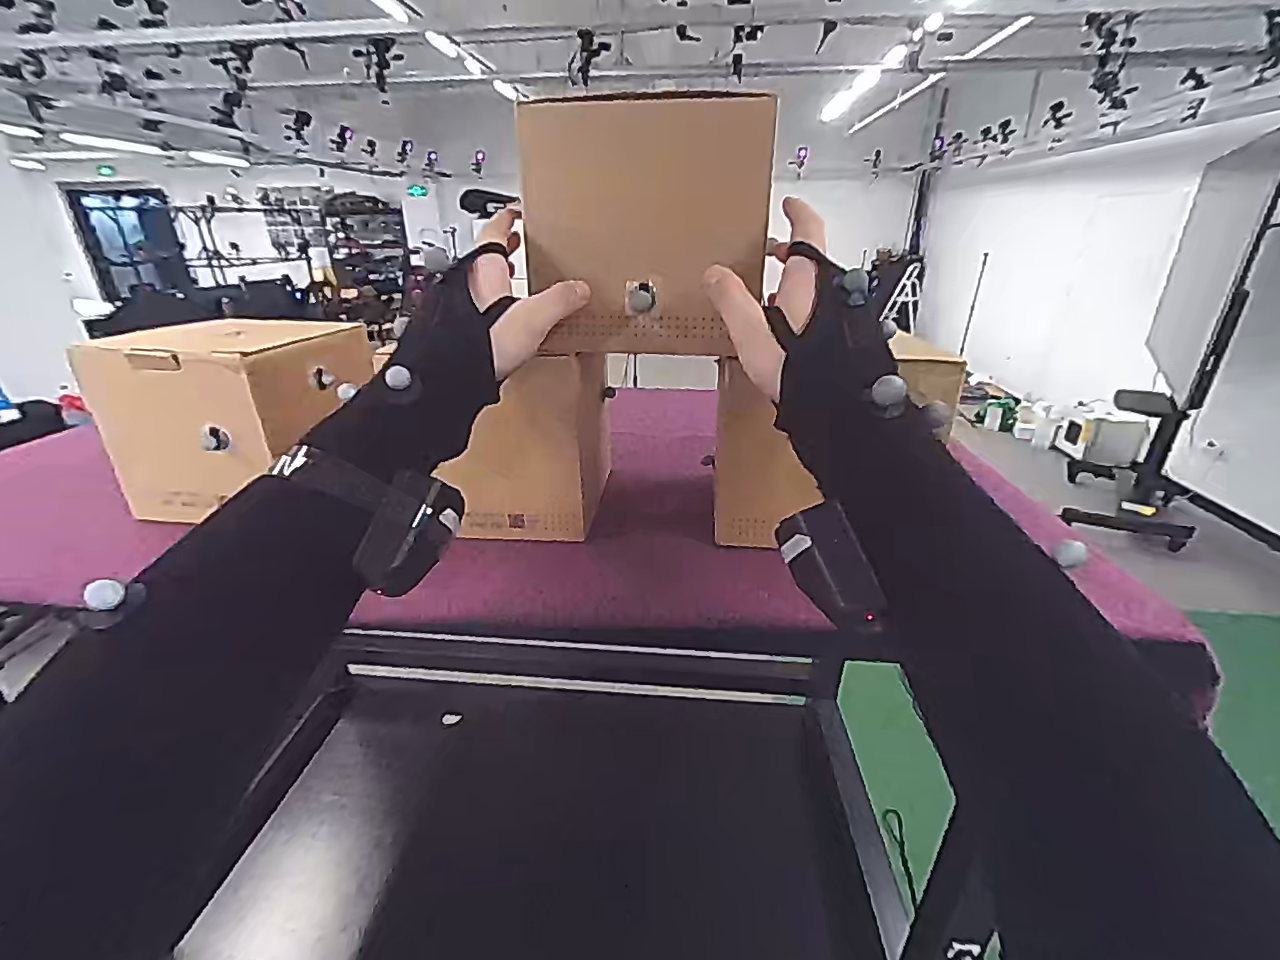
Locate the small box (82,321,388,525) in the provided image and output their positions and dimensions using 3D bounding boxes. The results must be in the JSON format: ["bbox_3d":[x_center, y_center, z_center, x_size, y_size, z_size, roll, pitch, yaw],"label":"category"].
[{"bbox_3d":[-0.388,-0.066,0.561,0.168,0.176,0.179,4,24,6],"label":"small box"}]

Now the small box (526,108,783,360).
[{"bbox_3d":[0.016,-0.201,0.464,0.179,0.176,0.168,4,23,6],"label":"small box"}]
